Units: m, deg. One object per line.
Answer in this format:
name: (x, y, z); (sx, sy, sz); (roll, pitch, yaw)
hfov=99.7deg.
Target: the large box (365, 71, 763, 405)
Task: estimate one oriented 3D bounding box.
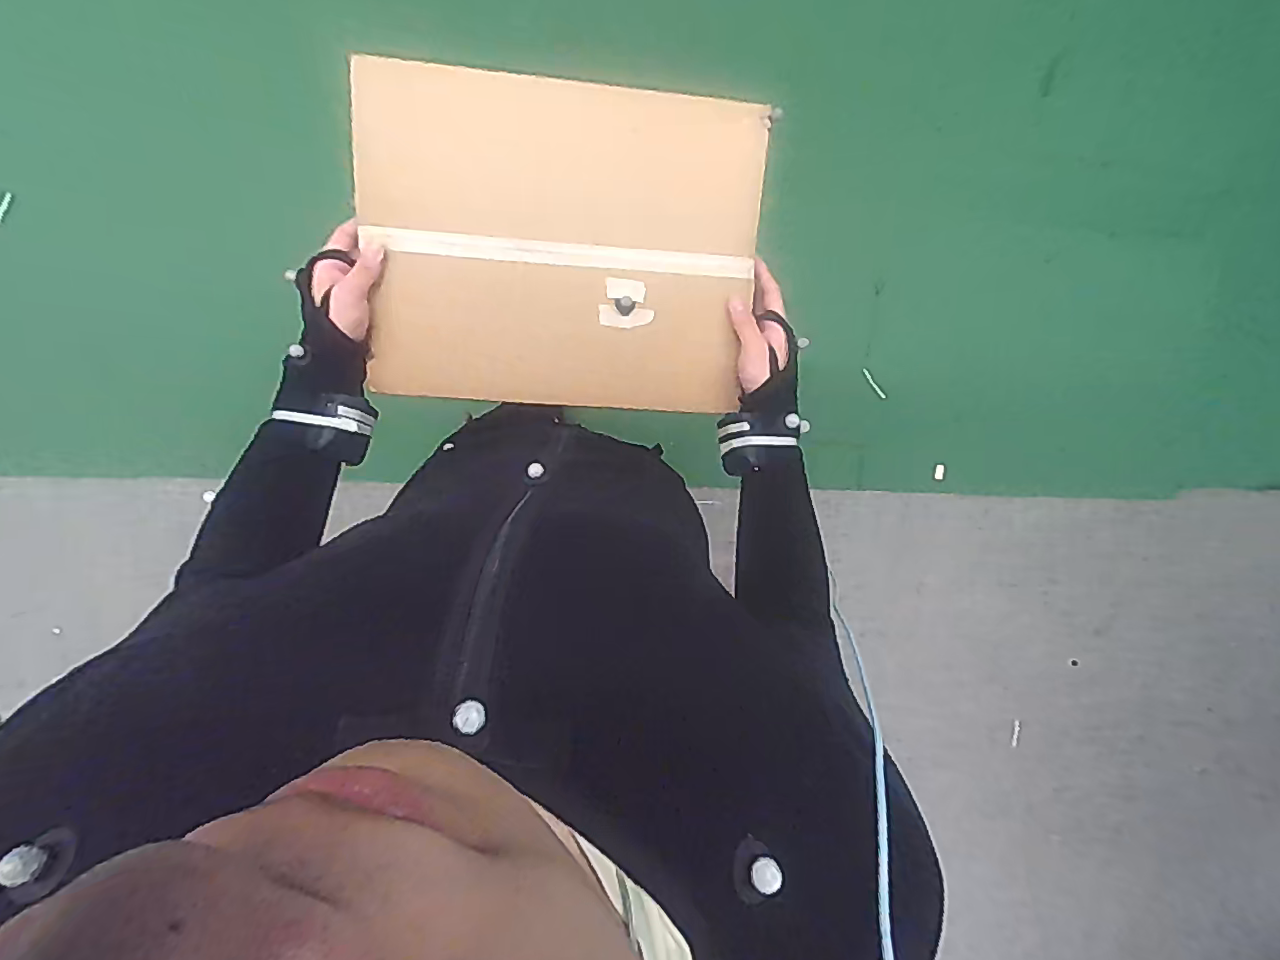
large box: (-0.092, -0.274, 0.717); (0.408, 0.320, 0.320); (2, 104, -6)
